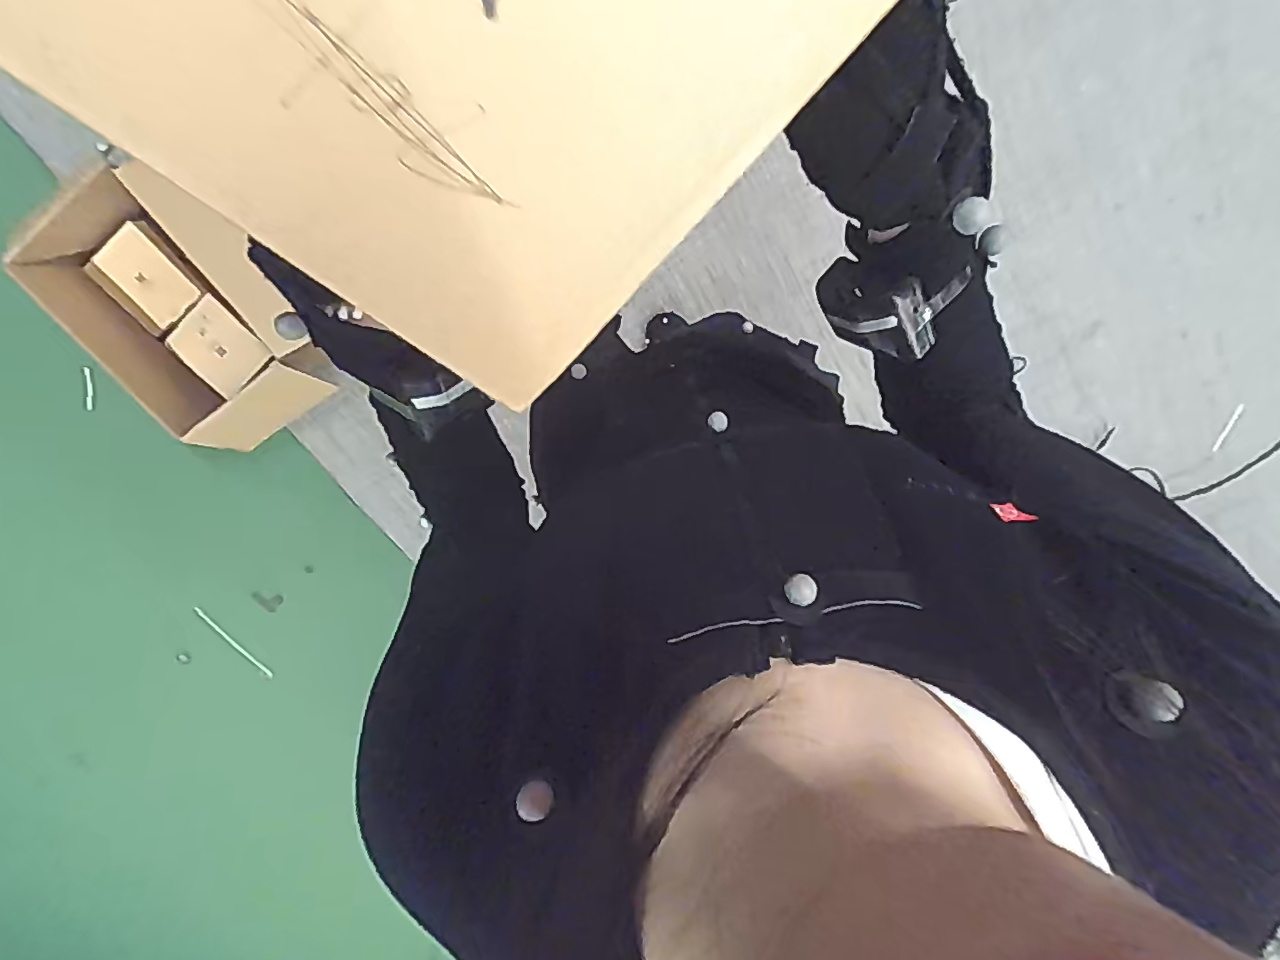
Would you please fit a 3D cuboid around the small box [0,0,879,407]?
[{"bbox_3d":[-0.066,-0.165,0.175,0.179,0.176,0.168,-45,134,10],"label":"small box"}]
